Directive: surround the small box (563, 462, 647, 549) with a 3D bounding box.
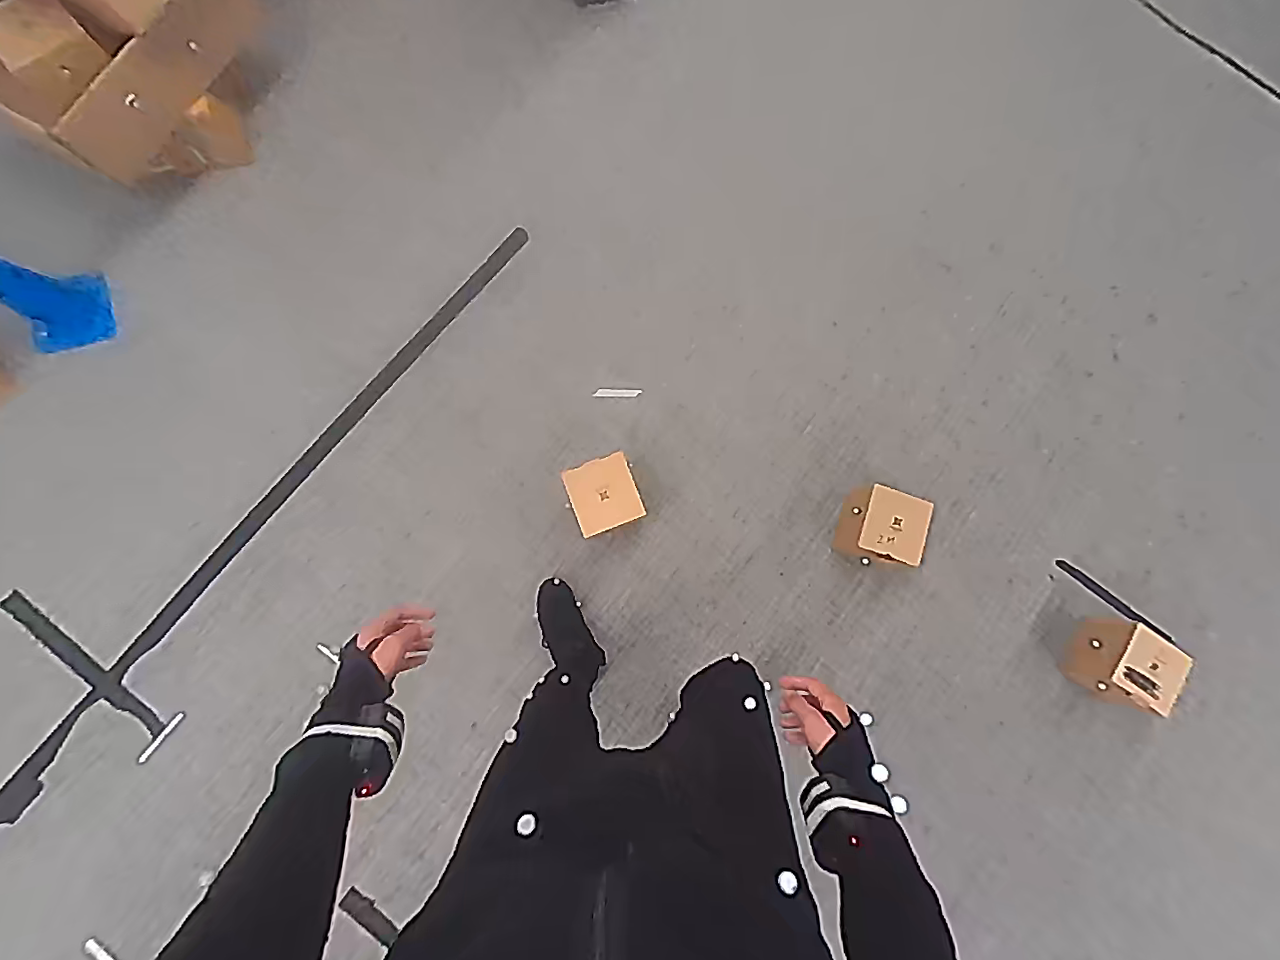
[{"bbox_3d":[-0.088,0.072,1.411,0.168,0.176,0.179,-21,82,-6],"label":"small box"}]

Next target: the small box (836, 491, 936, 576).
[{"bbox_3d":[0.650,0.148,1.447,0.168,0.176,0.179,19,79,0],"label":"small box"}]
